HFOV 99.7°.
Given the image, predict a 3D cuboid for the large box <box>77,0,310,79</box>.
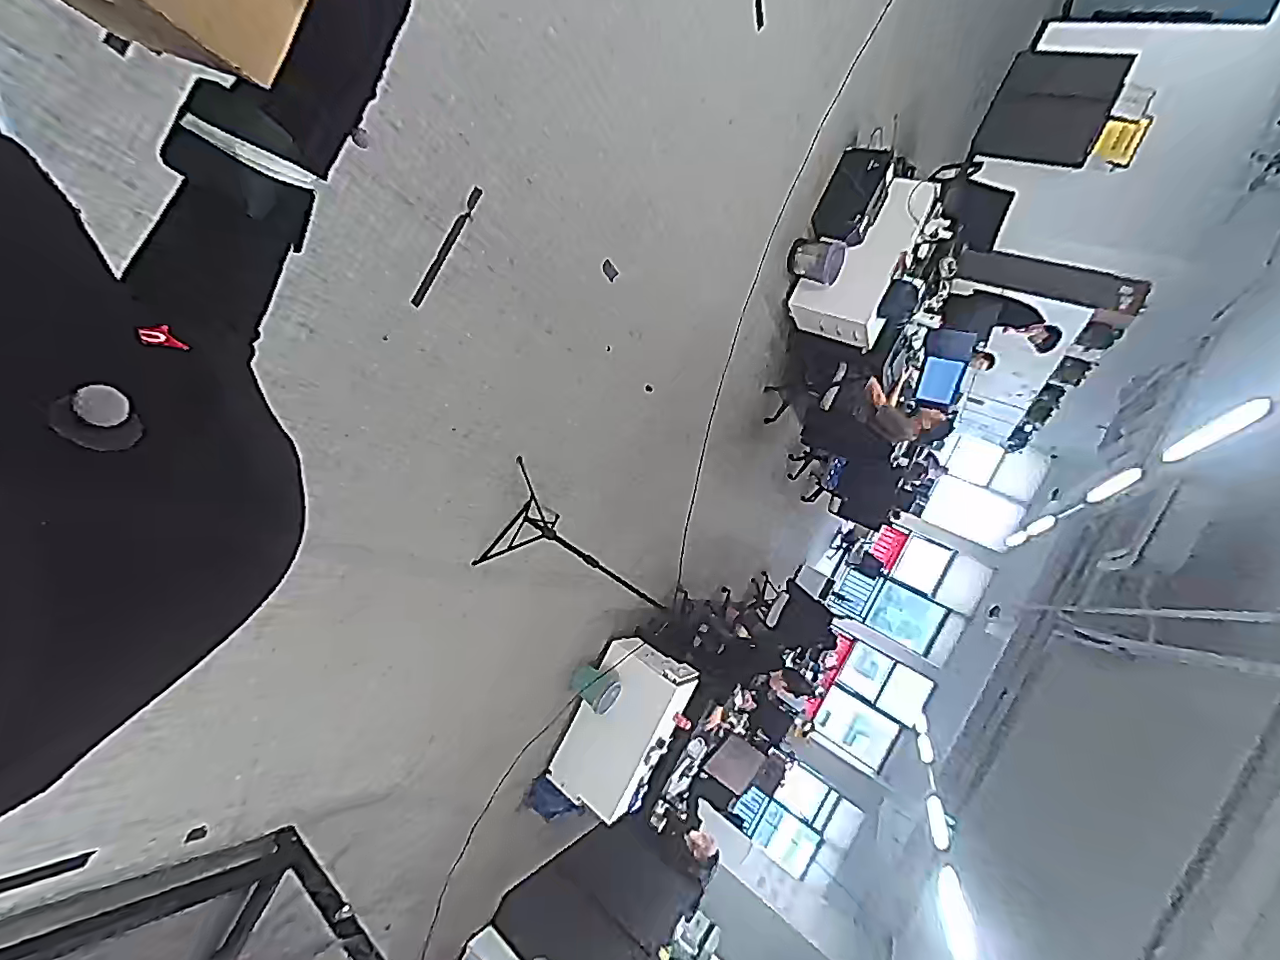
[{"bbox_3d":[-0.363,-0.479,0.220,0.320,0.320,0.408,-59,152,8],"label":"large box"}]
